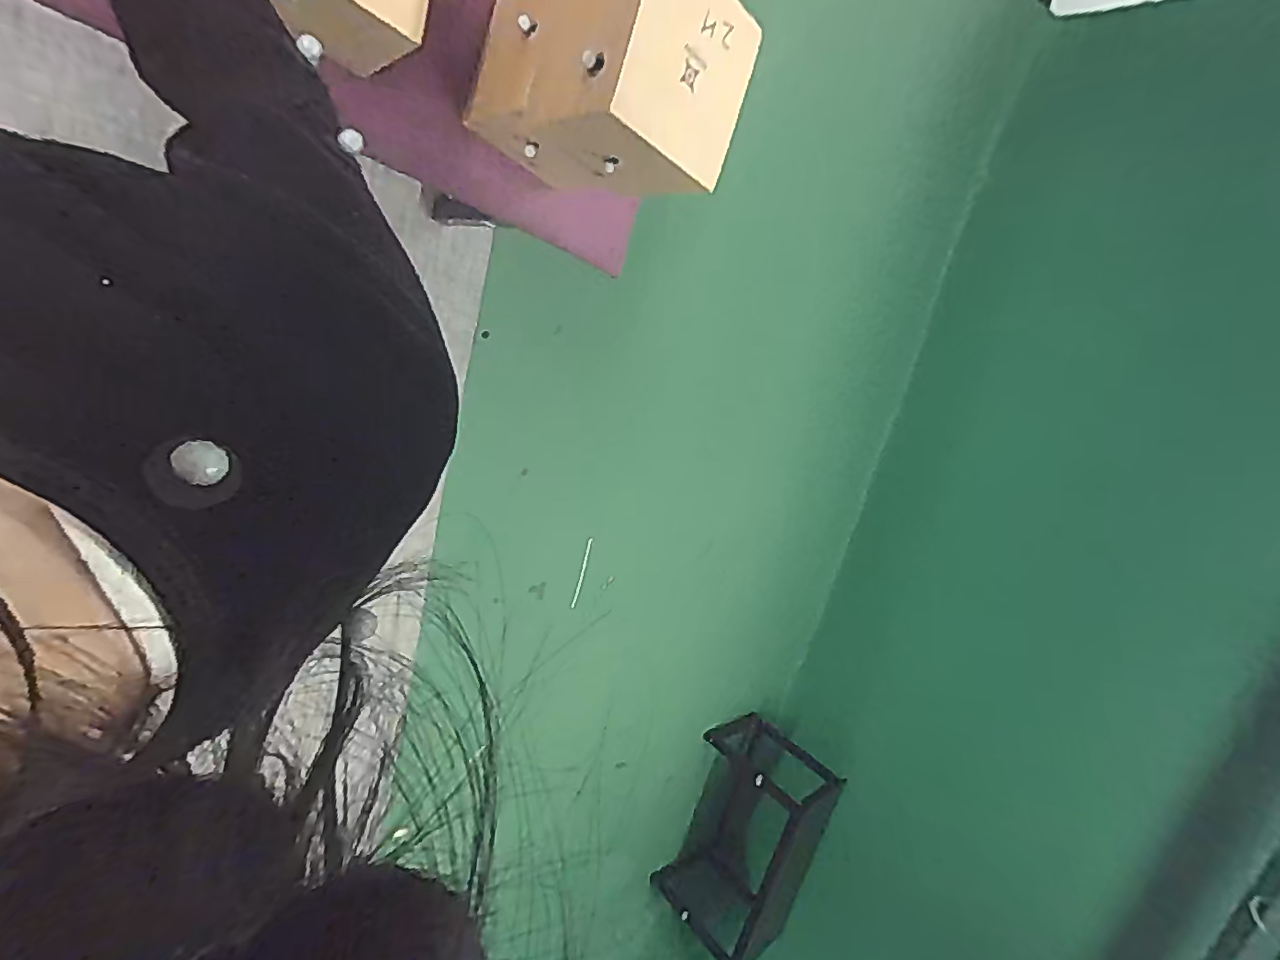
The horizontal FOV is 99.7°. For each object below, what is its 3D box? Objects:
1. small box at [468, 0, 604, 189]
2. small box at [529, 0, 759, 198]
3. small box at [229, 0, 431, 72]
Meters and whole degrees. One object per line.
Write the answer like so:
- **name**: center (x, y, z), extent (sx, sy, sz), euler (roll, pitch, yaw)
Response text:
- **small box**: center (-0.105, -0.511, 0.718), extent (0.168, 0.176, 0.179), euler (13, 100, -47)
- **small box**: center (-0.002, -0.441, 0.608), extent (0.168, 0.176, 0.179), euler (8, 103, -47)
- **small box**: center (-0.305, -0.527, 0.507), extent (0.179, 0.176, 0.168), euler (6, 104, -47)
